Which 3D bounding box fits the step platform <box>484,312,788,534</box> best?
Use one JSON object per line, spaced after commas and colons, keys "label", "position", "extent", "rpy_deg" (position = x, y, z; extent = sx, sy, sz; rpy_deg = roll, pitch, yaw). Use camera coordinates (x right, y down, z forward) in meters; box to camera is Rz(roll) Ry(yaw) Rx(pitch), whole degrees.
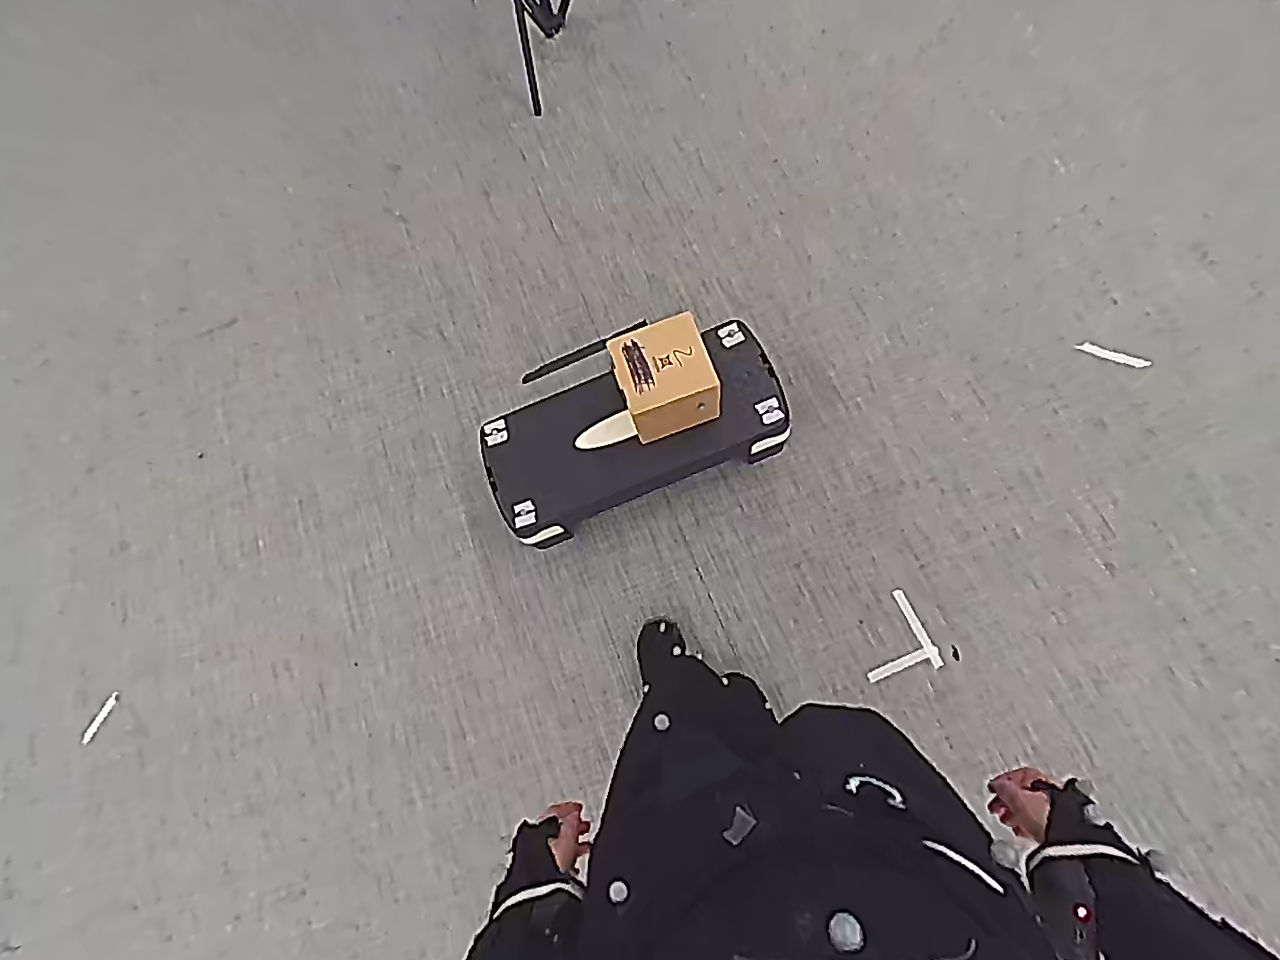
{"label": "step platform", "position": [-0.010, -0.125, 1.263], "extent": [0.684, 0.204, 0.286], "rpy_deg": [-23, 74, 2]}
